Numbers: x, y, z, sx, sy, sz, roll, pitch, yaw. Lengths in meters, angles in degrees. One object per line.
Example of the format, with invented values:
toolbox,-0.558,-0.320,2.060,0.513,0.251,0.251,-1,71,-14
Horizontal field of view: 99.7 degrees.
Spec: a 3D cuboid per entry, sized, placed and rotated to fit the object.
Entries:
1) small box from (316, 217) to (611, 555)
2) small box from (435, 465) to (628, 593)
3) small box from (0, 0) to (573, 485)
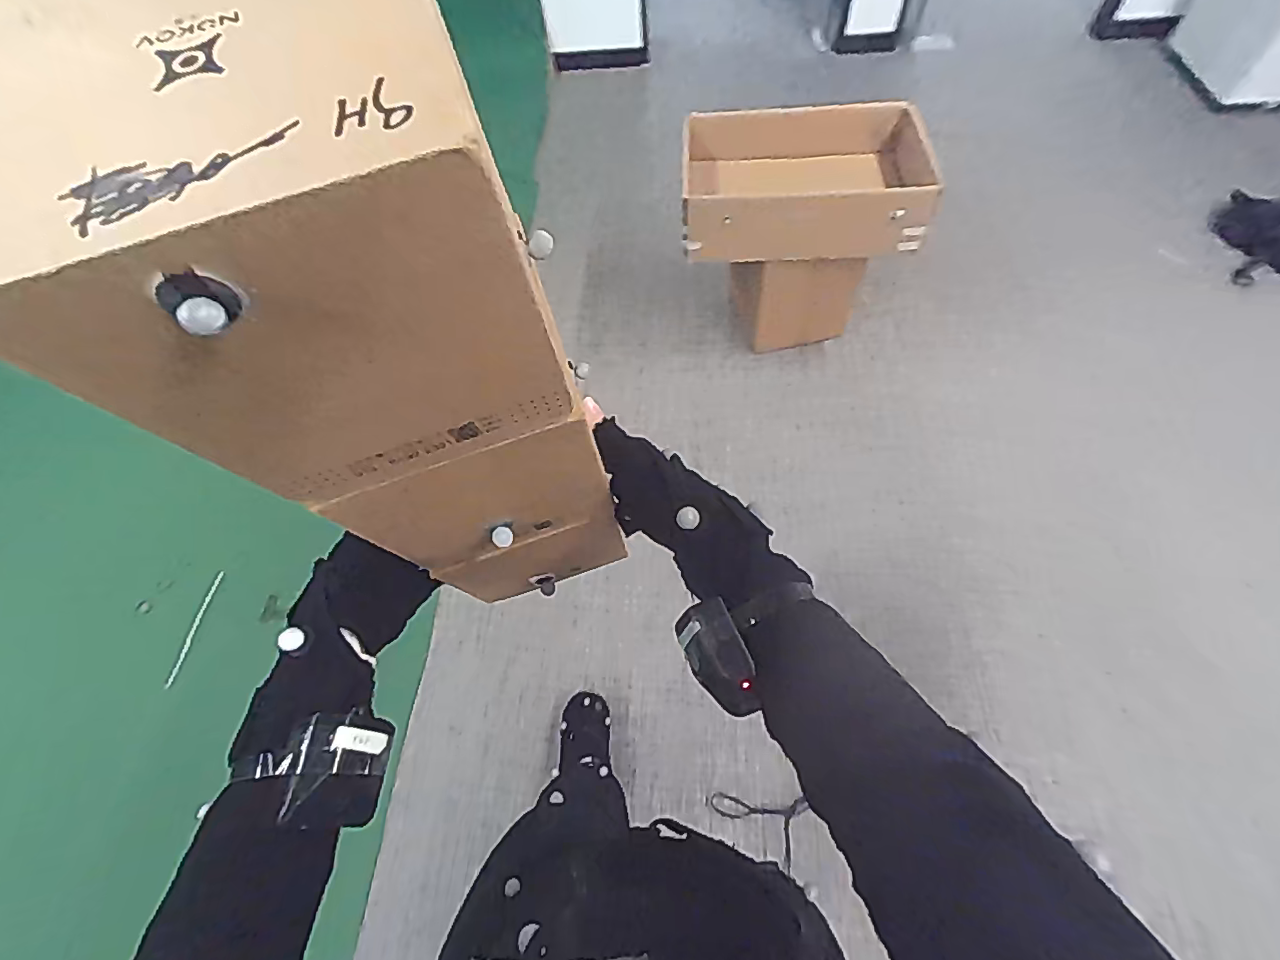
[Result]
small box,-0.129,-0.061,0.424,0.168,0.176,0.179,-18,69,-3
small box,-0.119,0.003,0.576,0.168,0.176,0.179,-20,70,-3
small box,-0.145,-0.123,0.274,0.168,0.176,0.179,-19,67,-3
